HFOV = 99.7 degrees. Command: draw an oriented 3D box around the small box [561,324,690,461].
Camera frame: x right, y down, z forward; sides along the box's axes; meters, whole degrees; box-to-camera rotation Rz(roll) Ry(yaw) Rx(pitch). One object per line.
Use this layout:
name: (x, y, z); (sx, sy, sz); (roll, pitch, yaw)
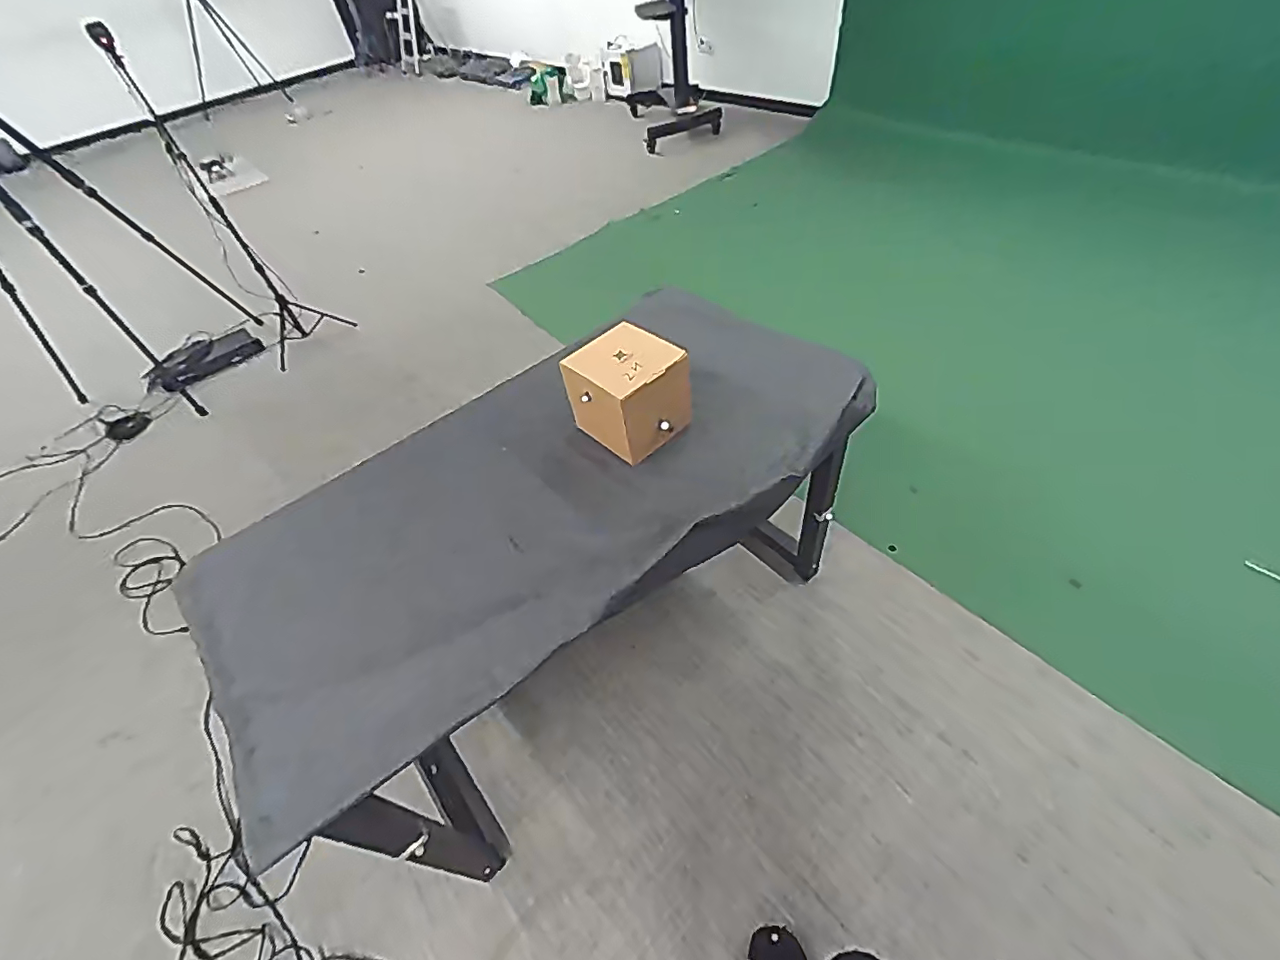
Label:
small box: (-0.022, -0.167, 1.040); (0.168, 0.176, 0.179); (-38, 54, -22)
